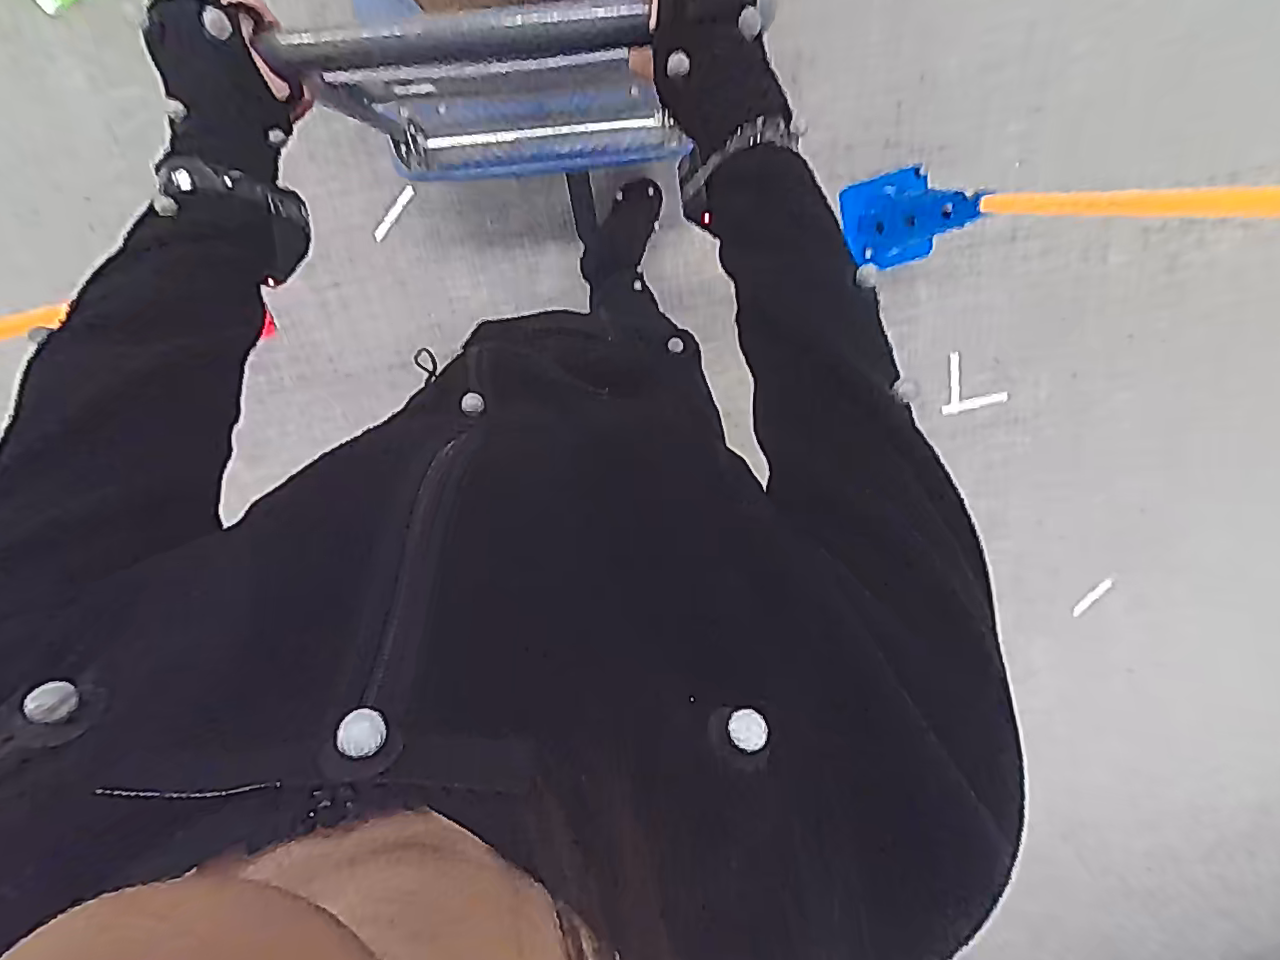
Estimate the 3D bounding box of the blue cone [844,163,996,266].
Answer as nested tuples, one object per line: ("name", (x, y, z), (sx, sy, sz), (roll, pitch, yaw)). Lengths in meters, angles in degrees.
("blue cone", (0.581, -0.550, 1.092), (0.193, 0.380, 0.192), (-15, 110, 2))
